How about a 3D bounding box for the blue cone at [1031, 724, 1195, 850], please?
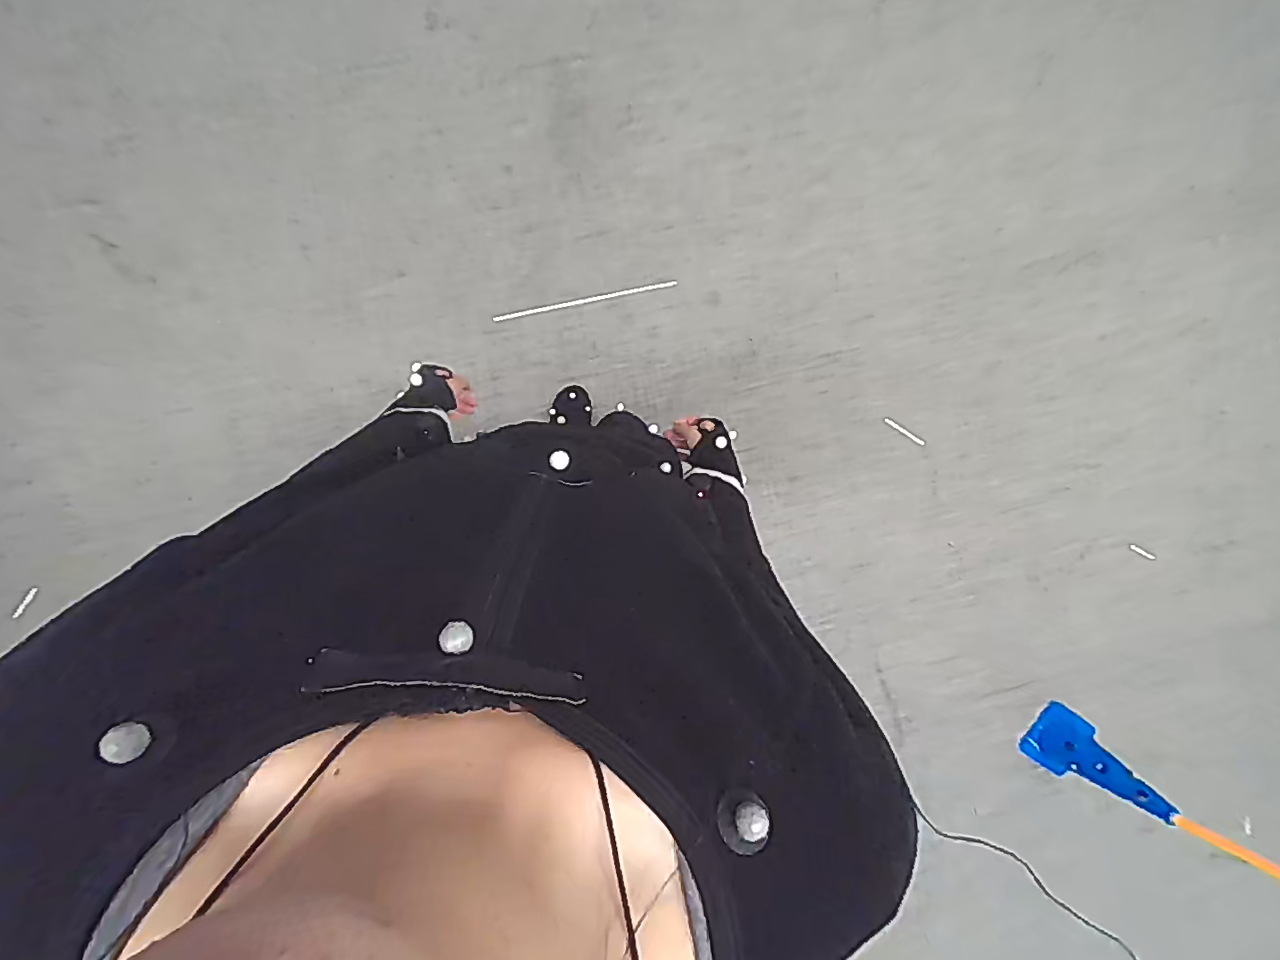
[{"bbox_3d":[1.346,0.888,1.531,0.192,0.380,0.193,33,91,-7],"label":"blue cone"}]
